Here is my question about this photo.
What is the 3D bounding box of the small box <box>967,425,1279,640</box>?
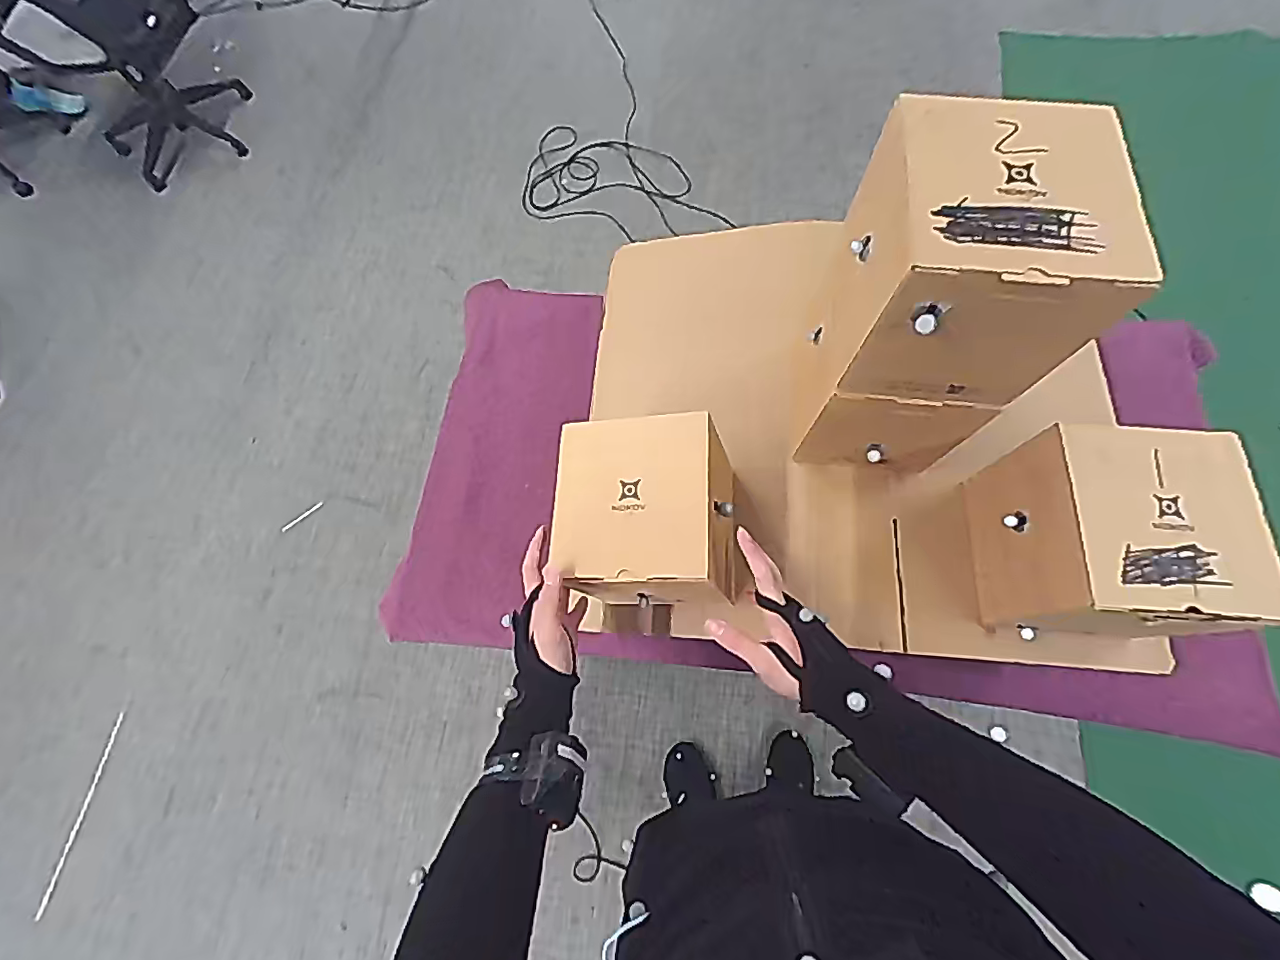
[{"bbox_3d":[0.467,0.063,0.550,0.168,0.176,0.179,4,69,3],"label":"small box"}]

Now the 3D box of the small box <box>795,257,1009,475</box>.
[{"bbox_3d":[0.279,-0.123,0.620,0.168,0.176,0.179,5,70,3],"label":"small box"}]
